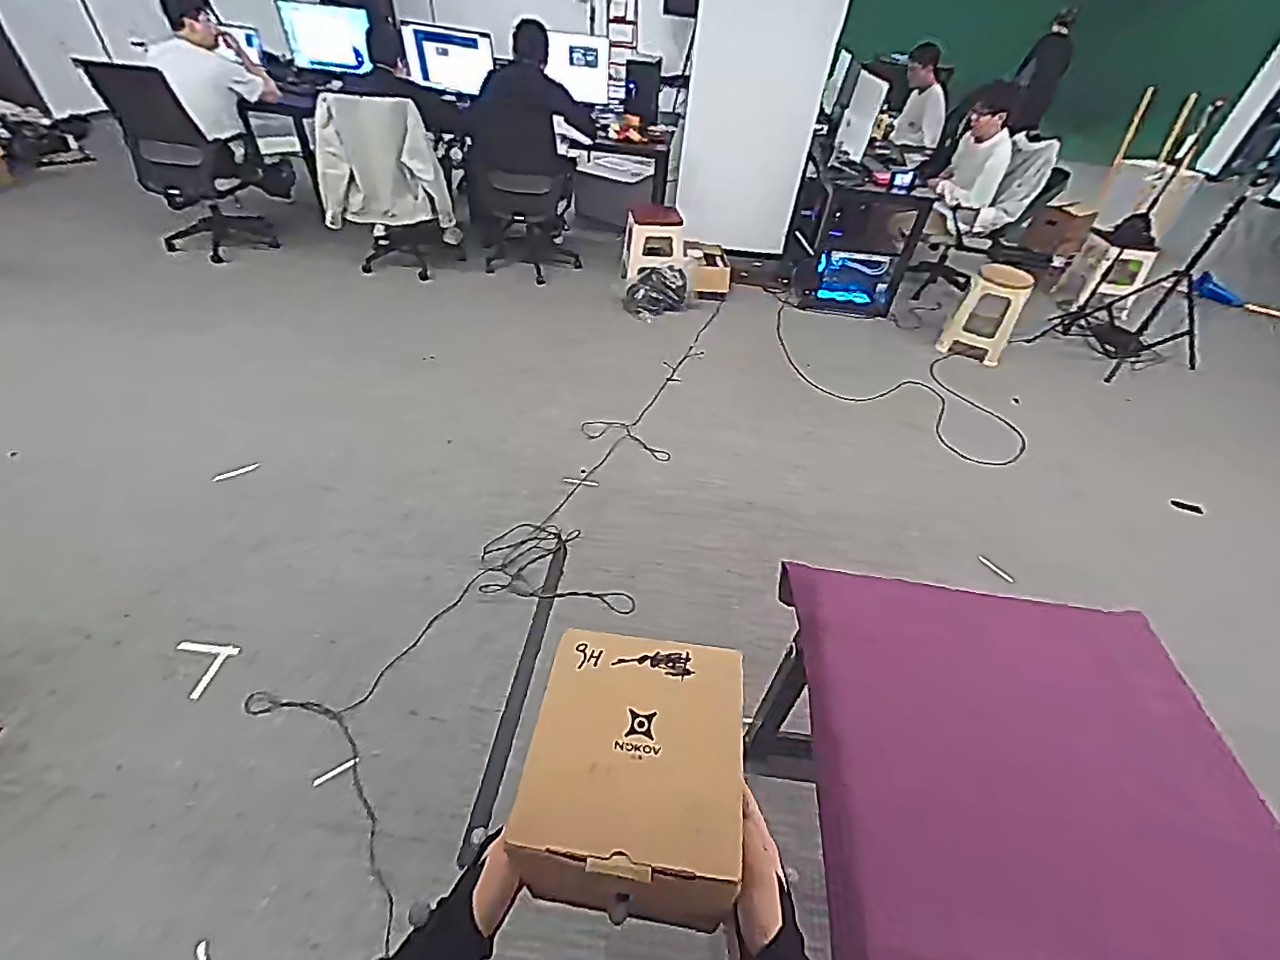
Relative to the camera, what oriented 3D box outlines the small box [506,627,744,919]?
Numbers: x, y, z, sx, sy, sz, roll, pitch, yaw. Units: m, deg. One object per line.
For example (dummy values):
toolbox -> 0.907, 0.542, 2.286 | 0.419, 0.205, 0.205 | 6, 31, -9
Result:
small box -> -0.001, 0.259, 0.480 | 0.168, 0.176, 0.179 | 6, 43, 5
